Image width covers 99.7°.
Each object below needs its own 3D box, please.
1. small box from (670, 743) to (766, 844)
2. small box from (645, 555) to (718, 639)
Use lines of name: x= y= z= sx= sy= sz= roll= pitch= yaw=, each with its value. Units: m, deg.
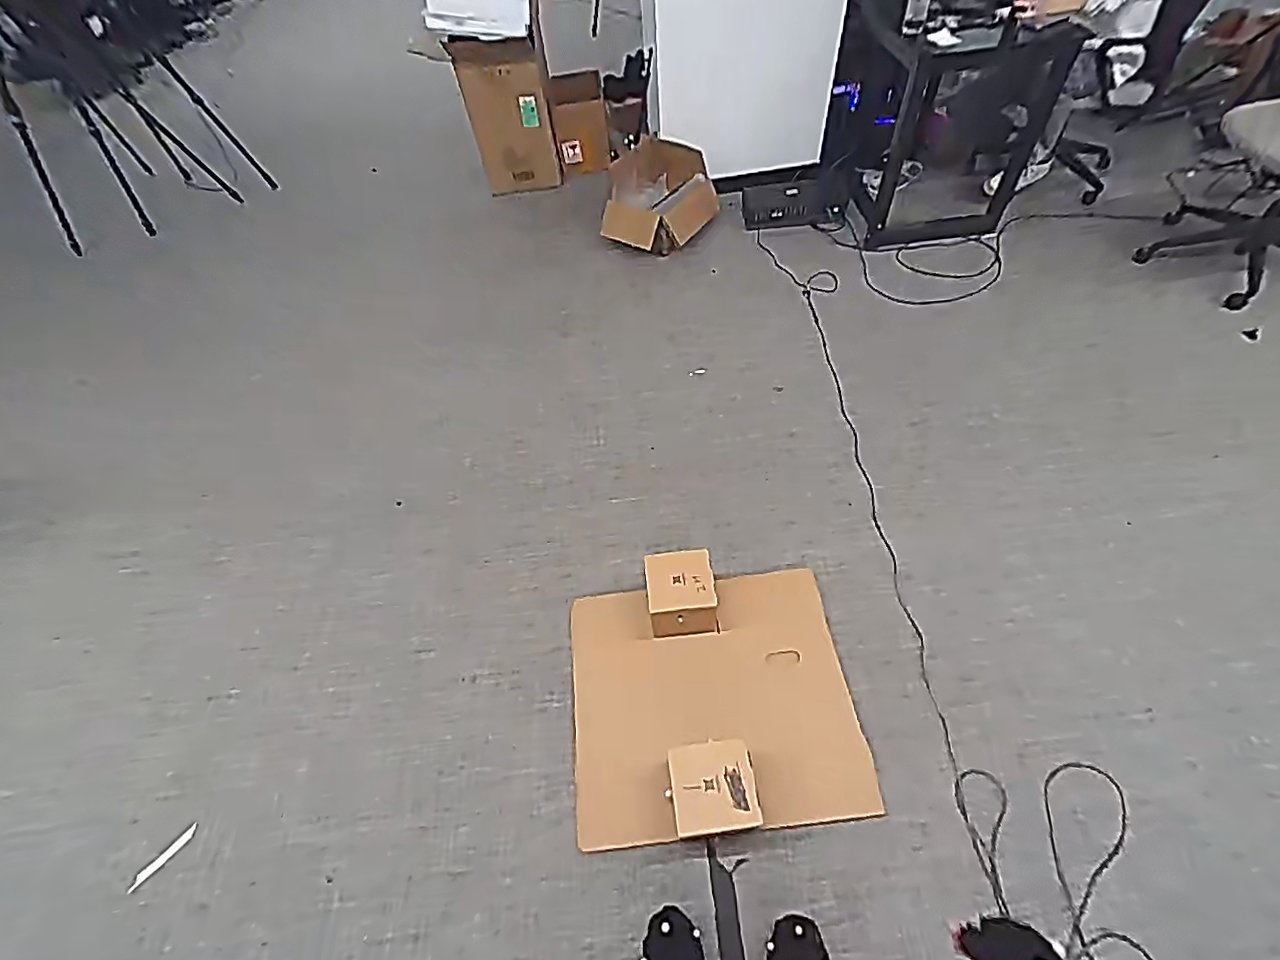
small box: x=0.163 y=0.690 z=1.188 sx=0.179 sy=0.176 sz=0.168 roll=-8 pitch=54 yaw=0
small box: x=0.112 y=0.320 z=1.460 sx=0.179 sy=0.176 sz=0.168 roll=-6 pitch=54 yaw=1
